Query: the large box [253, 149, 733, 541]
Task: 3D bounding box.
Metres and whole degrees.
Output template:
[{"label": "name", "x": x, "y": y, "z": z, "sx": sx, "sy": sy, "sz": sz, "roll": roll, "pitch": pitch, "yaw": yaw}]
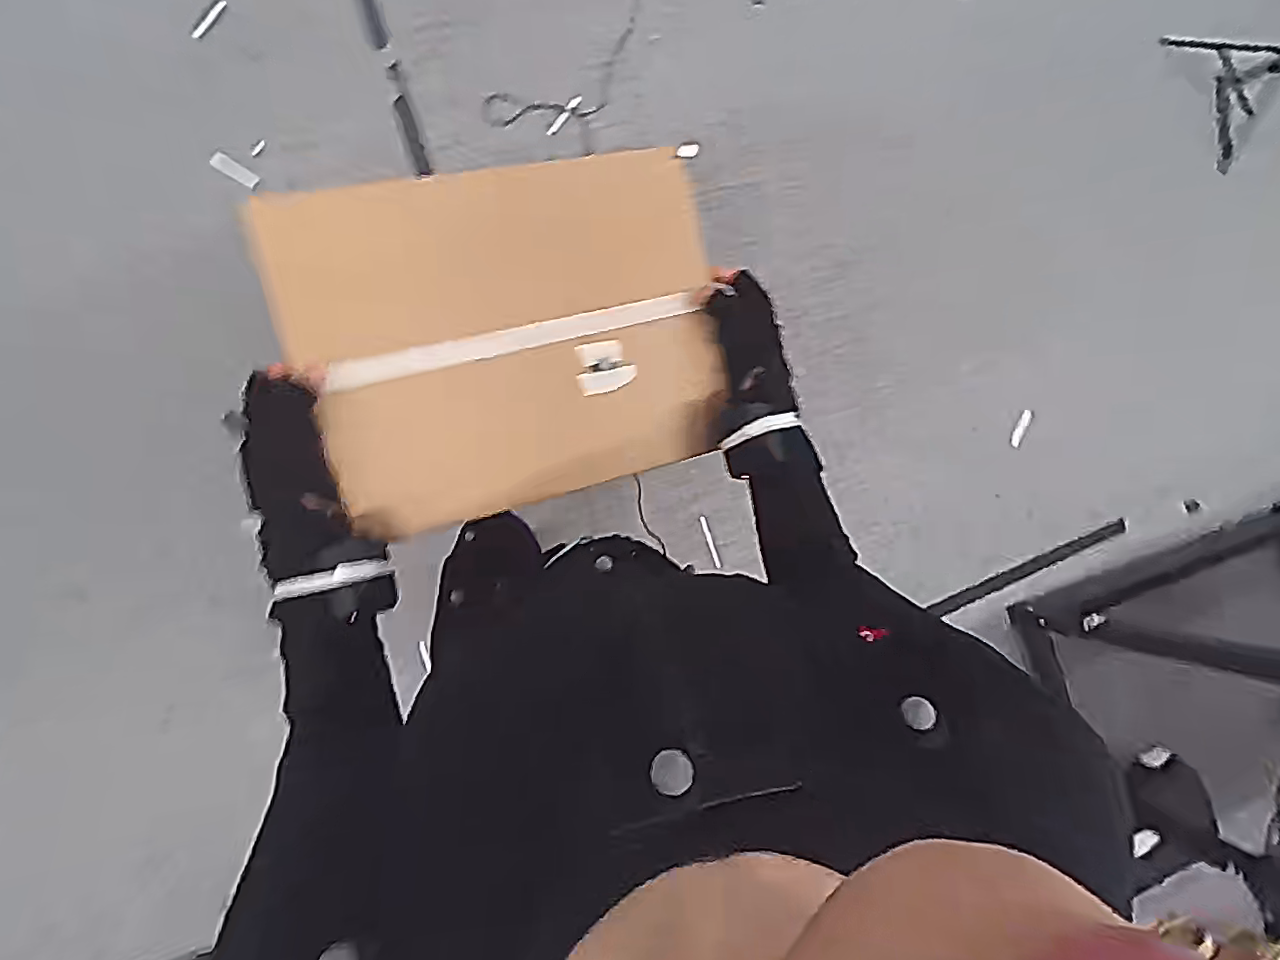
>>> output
[{"label": "large box", "x": -0.159, "y": -0.150, "z": 0.679, "sx": 0.408, "sy": 0.320, "sz": 0.320, "roll": -17, "pitch": 98, "yaw": -15}]
